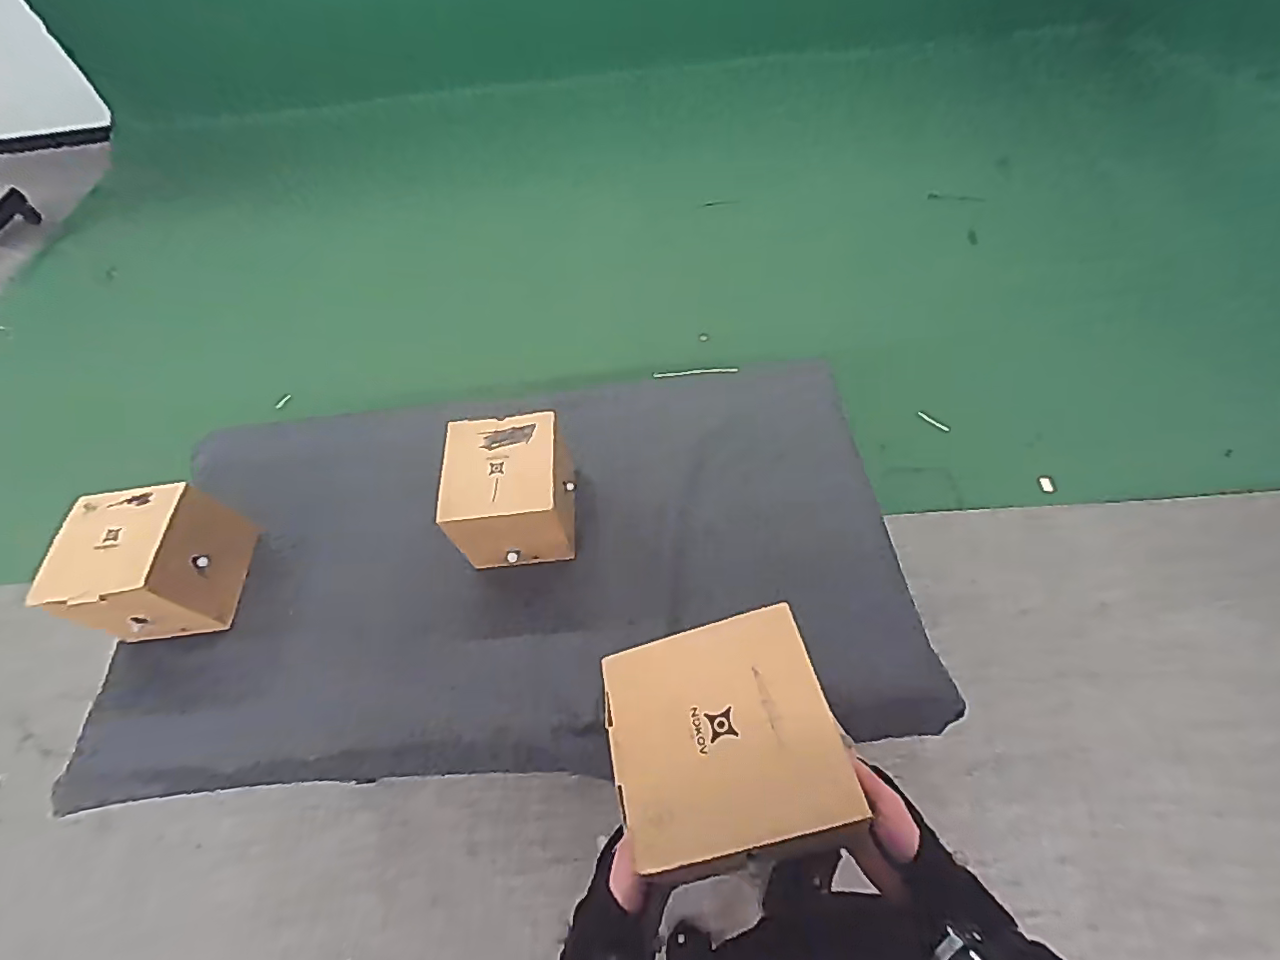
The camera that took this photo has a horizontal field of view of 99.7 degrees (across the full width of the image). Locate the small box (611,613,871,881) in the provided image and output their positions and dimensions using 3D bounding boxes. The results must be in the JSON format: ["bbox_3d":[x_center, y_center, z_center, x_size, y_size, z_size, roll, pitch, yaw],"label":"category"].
[{"bbox_3d":[0.090,0.251,0.496,0.179,0.176,0.168,-18,51,5],"label":"small box"}]

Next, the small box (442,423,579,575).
[{"bbox_3d":[-0.192,0.033,0.854,0.168,0.176,0.179,-6,59,1],"label":"small box"}]

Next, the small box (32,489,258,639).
[{"bbox_3d":[-0.734,0.137,0.831,0.168,0.176,0.179,-7,58,-1],"label":"small box"}]
